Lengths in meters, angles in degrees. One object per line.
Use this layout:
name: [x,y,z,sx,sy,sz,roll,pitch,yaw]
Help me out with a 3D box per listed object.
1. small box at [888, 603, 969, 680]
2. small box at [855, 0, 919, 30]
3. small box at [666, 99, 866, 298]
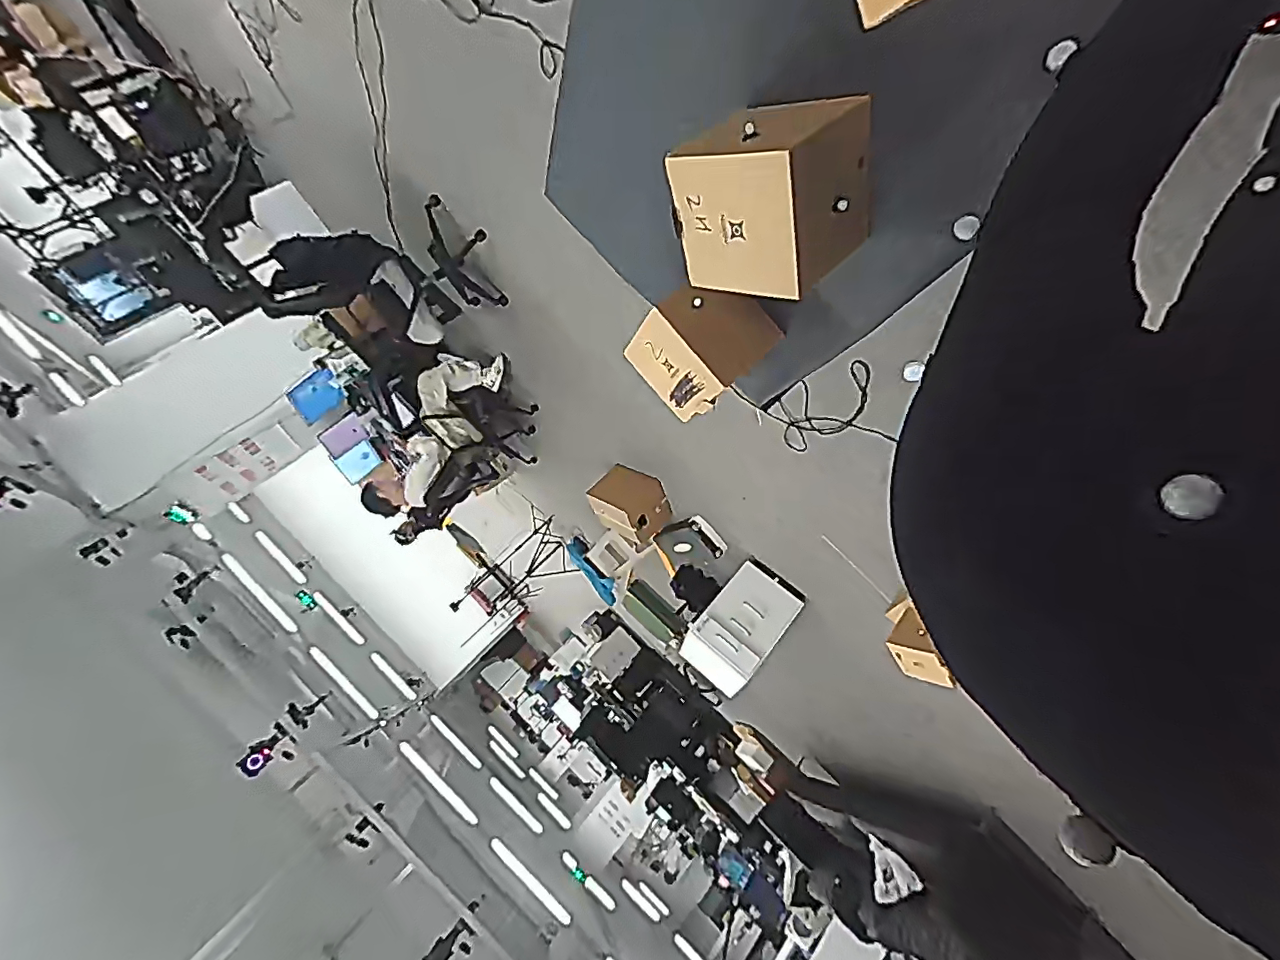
small box: [0.984,0.539,1.830,0.168,0.176,0.179,54,153,-18]
small box: [0.246,-0.470,0.367,0.179,0.176,0.168,9,137,56]
small box: [0.165,-0.354,0.682,0.179,0.176,0.168,26,149,39]
